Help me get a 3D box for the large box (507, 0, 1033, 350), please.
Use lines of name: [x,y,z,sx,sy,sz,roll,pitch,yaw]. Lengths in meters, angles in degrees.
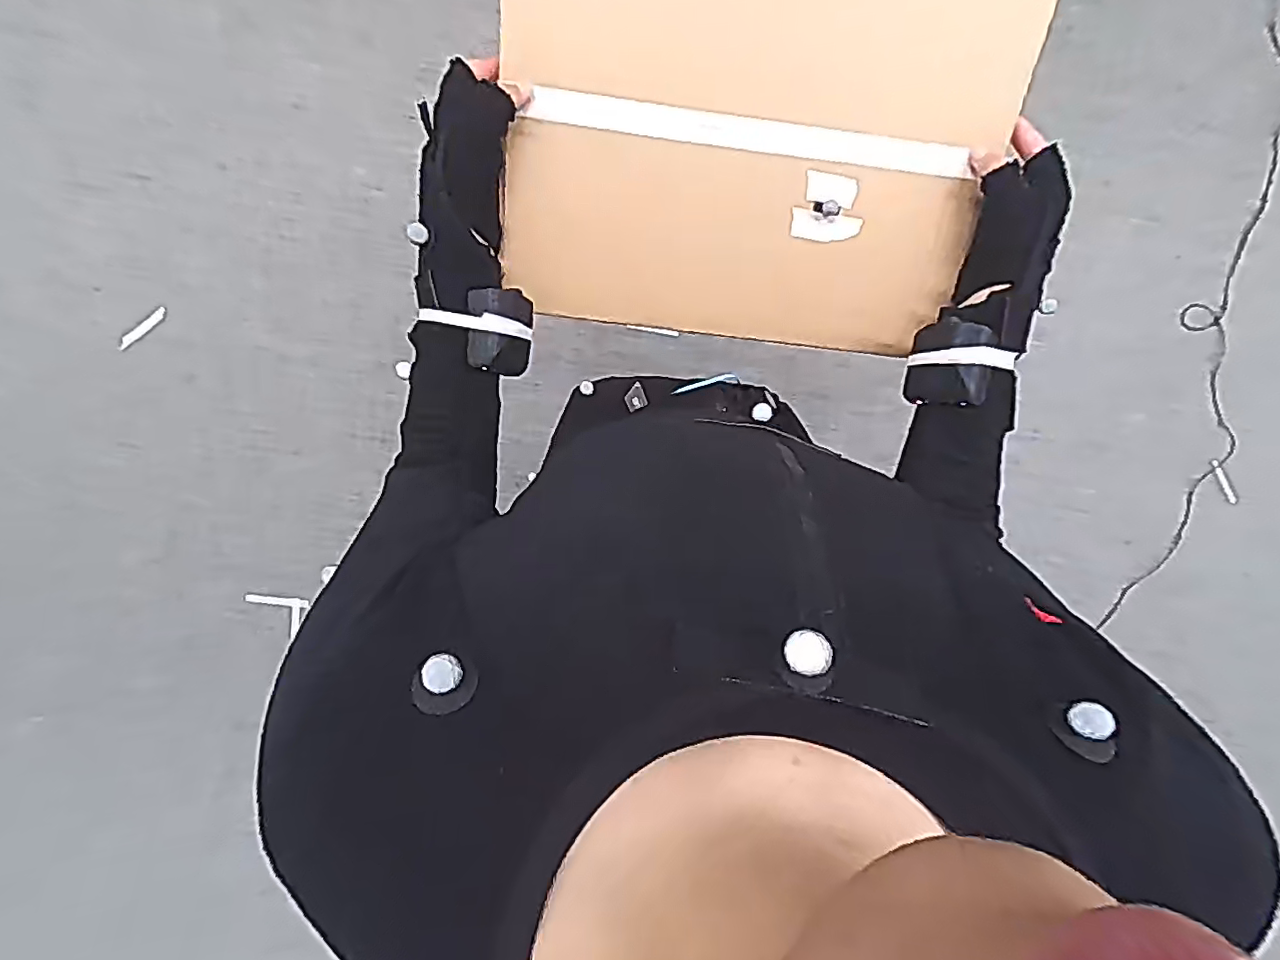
large box: [0.083,-0.337,0.578,0.408,0.320,0.320,5,115,-5]
